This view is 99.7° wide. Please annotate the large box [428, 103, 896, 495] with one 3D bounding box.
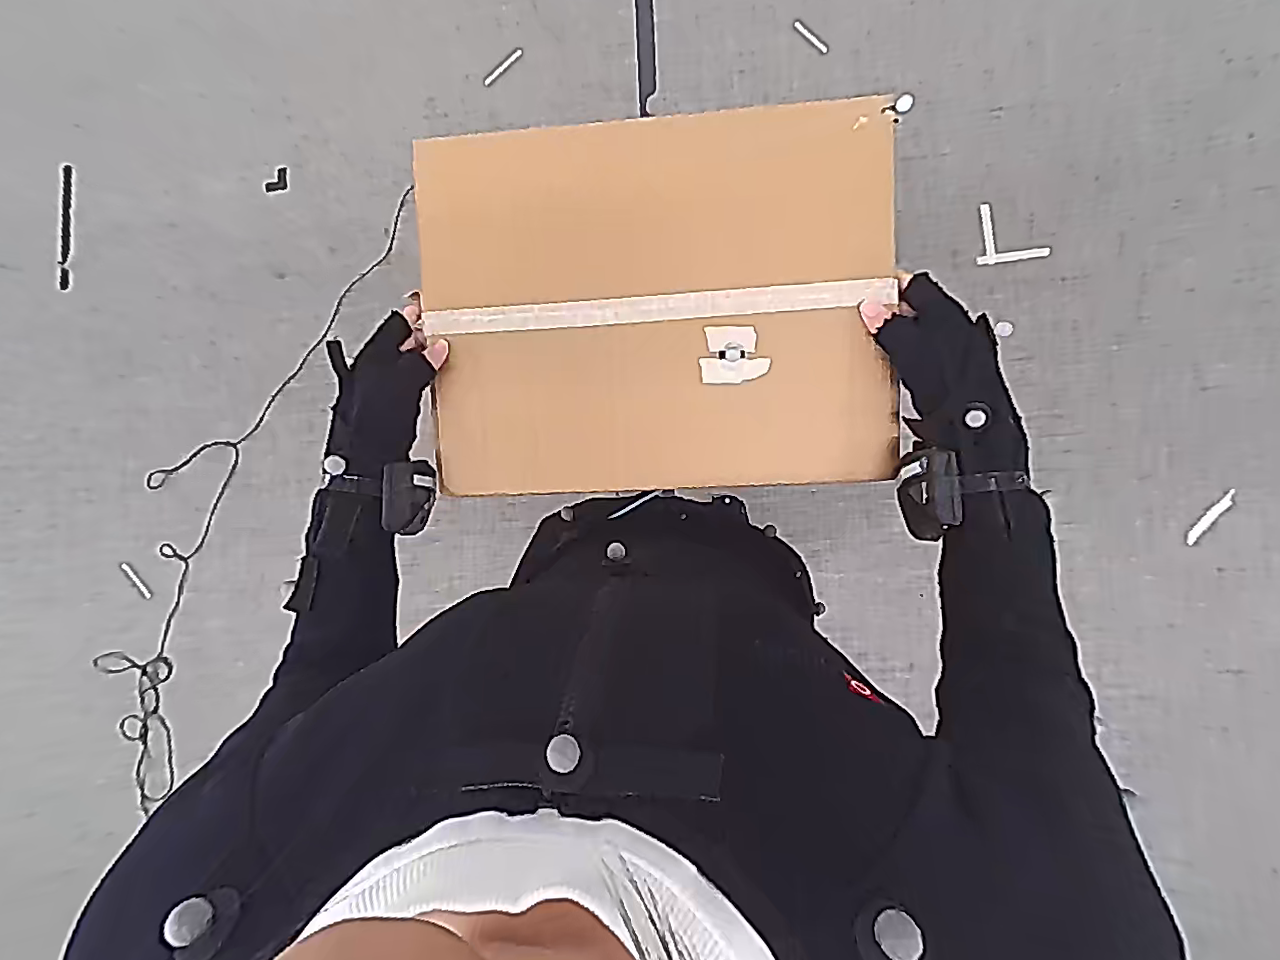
[{"bbox_3d":[0.025,-0.162,0.624,0.408,0.320,0.320,-3,95,4],"label":"large box"}]
